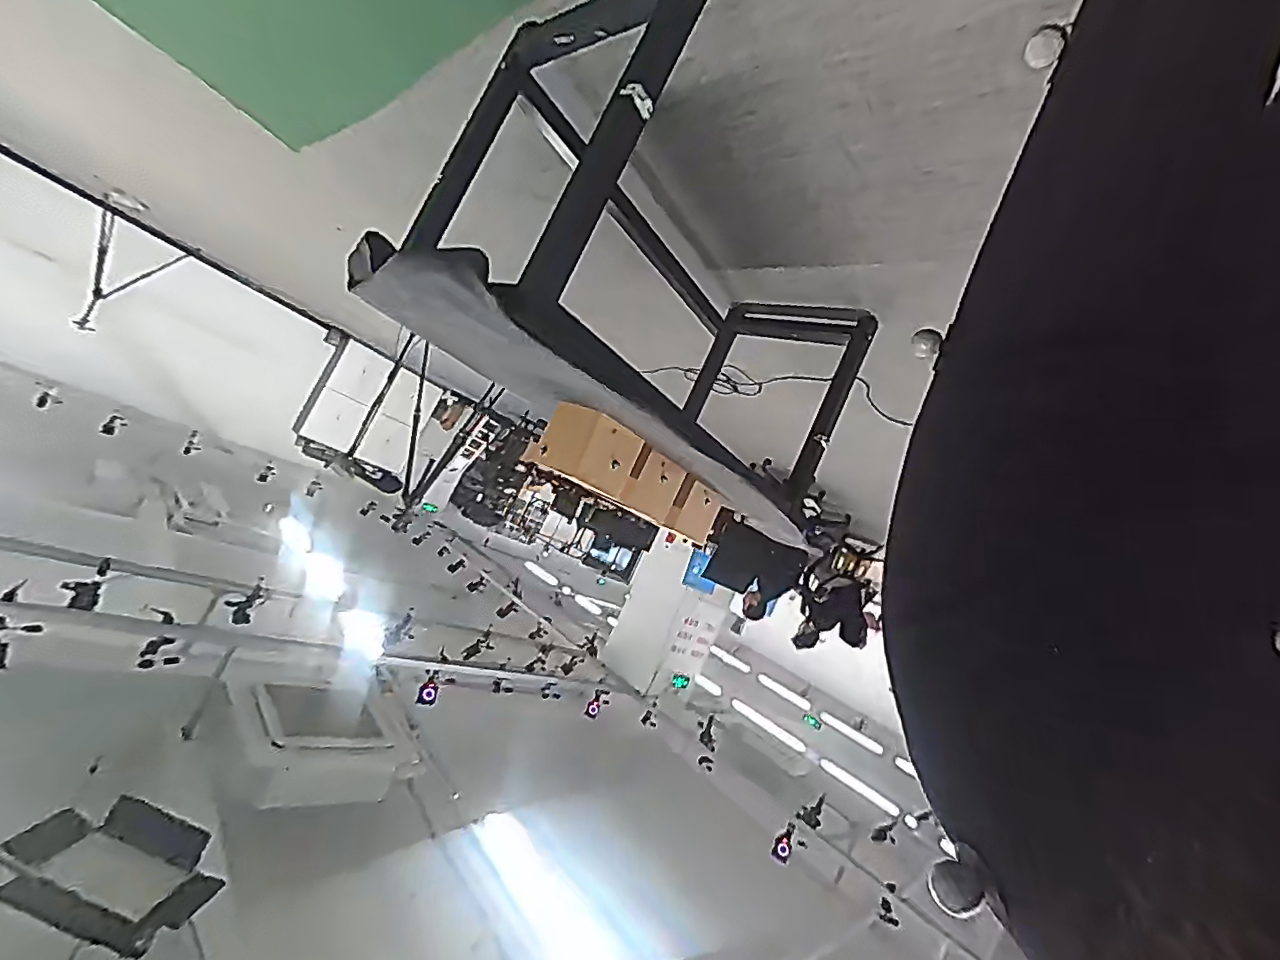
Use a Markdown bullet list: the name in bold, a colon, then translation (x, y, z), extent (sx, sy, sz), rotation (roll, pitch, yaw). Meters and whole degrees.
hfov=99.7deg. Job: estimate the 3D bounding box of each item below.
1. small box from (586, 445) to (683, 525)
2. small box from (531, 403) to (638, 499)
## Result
- **small box**: translation (-0.012, 0.000, 1.499), extent (0.179, 0.176, 0.168), rotation (20, 173, 45)
- **small box**: translation (-0.127, -0.075, 1.321), extent (0.179, 0.176, 0.168), rotation (21, 173, 45)
